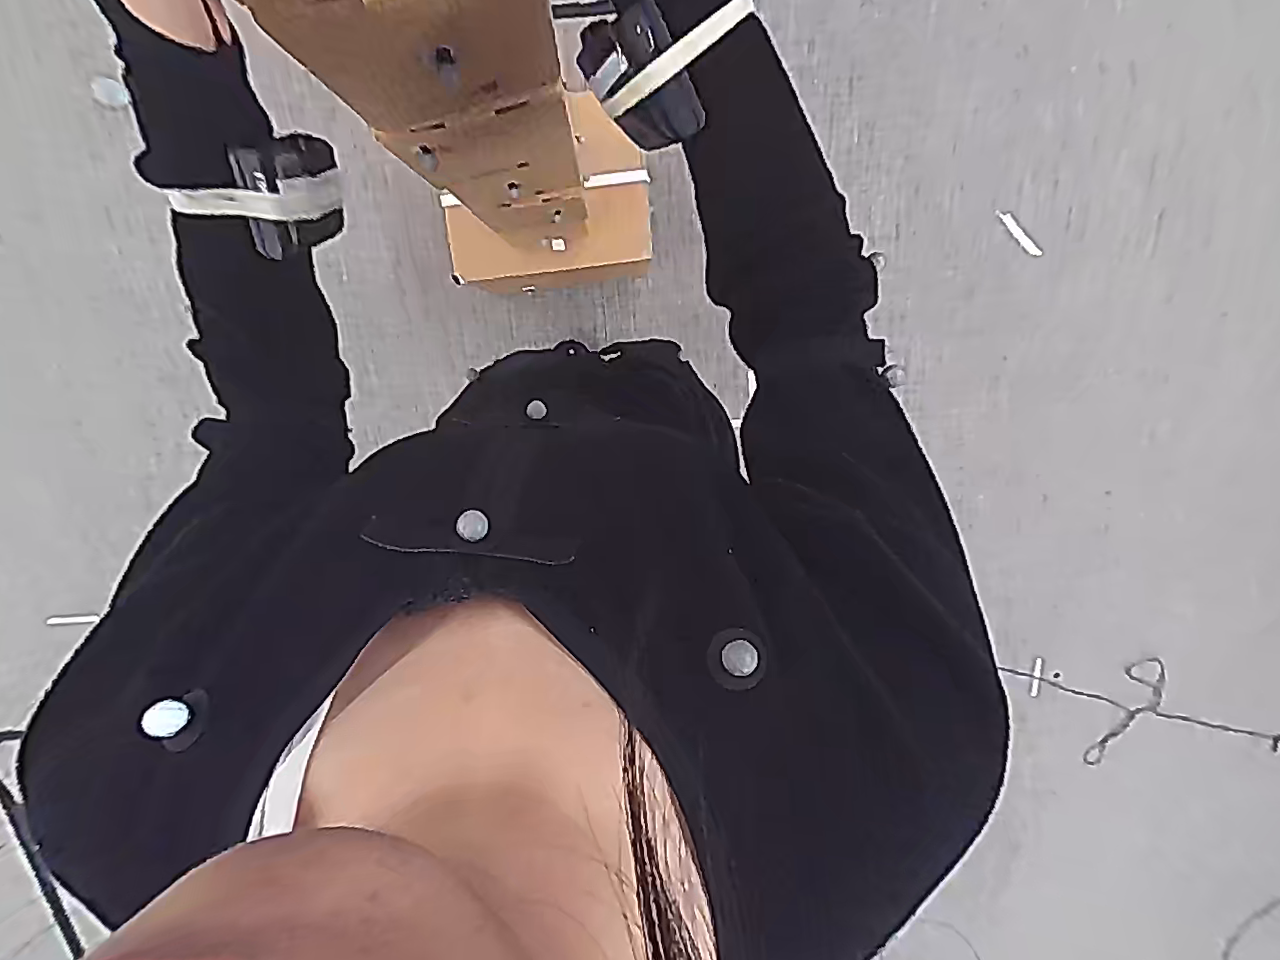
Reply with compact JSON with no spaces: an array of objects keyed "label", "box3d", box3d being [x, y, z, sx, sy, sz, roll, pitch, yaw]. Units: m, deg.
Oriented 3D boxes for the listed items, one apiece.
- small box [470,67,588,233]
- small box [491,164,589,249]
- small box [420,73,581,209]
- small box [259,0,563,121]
[{"label":"small box","box3d":[-0.176,-0.491,0.833,0.168,0.176,0.179,-9,104,-1]},{"label":"small box","box3d":[-0.187,-0.536,0.988,0.168,0.176,0.179,-7,105,0]},{"label":"small box","box3d":[-0.173,-0.454,0.673,0.168,0.176,0.179,-13,105,-1]},{"label":"small box","box3d":[-0.155,-0.370,0.356,0.168,0.176,0.179,-16,106,1]}]
